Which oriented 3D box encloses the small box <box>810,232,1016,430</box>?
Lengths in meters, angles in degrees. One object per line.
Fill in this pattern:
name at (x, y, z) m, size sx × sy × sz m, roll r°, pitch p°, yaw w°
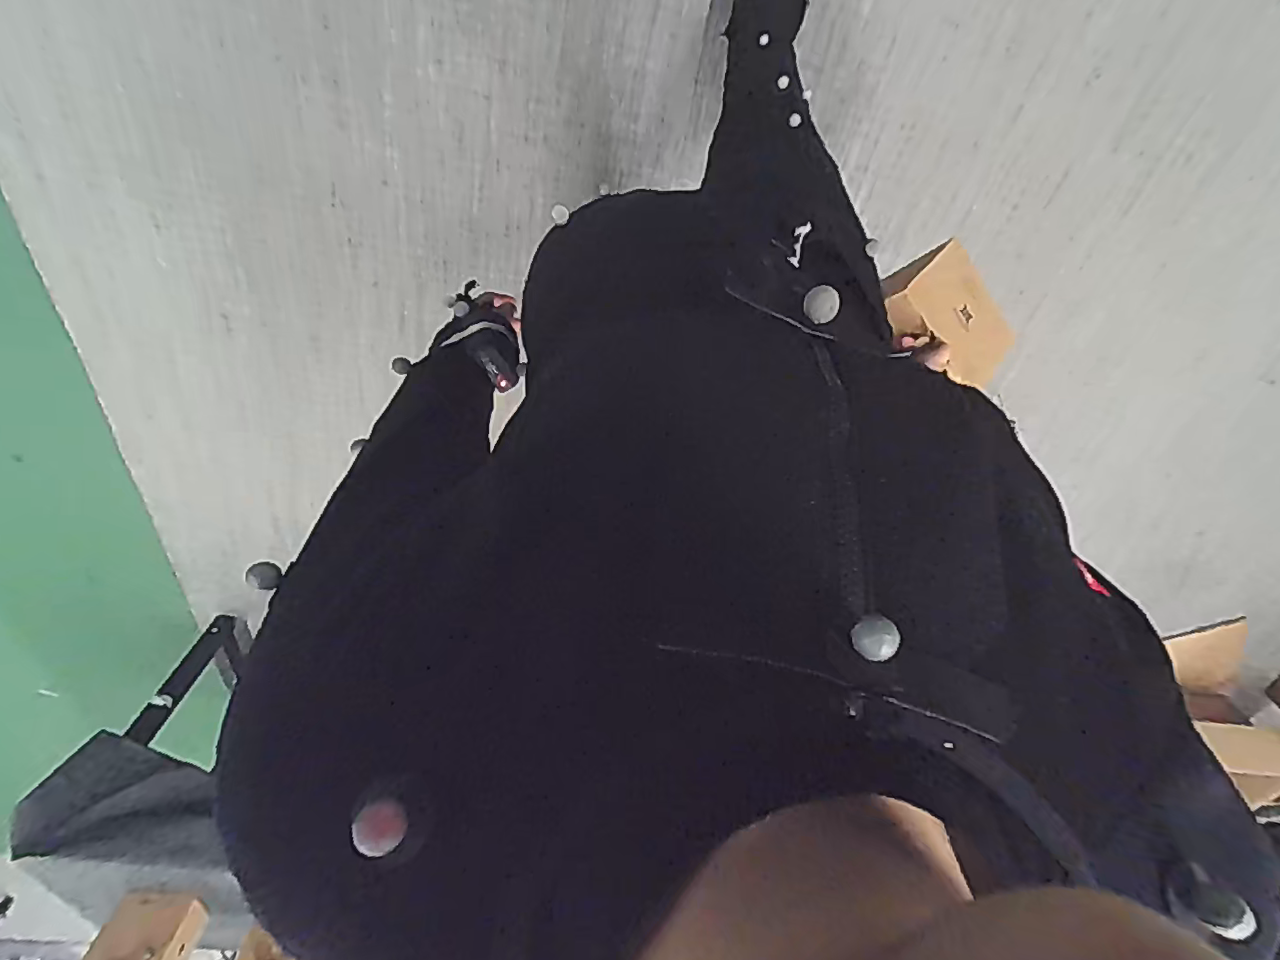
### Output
small box at (0.361, -0.193, 0.736) m, size 0.168 × 0.179 × 0.176 m, roll 53°, pitch 148°, yaw -9°
